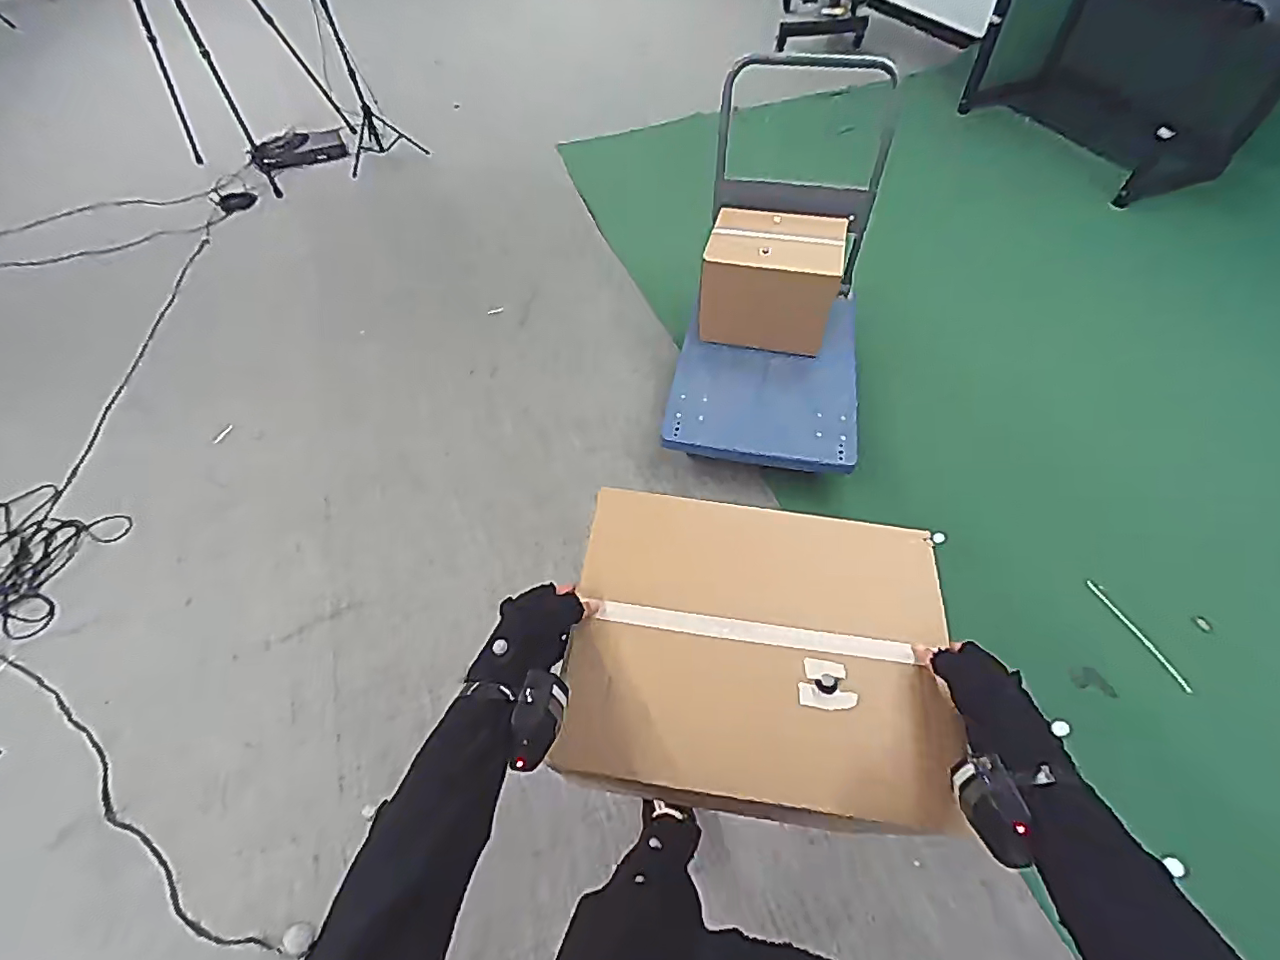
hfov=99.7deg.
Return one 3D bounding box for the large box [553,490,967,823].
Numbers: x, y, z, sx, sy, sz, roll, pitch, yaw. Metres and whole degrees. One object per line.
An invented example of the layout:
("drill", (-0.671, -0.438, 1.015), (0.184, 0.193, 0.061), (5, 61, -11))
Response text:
("large box", (0.121, 0.243, 0.715), (0.408, 0.320, 0.320), (8, 57, 2))
